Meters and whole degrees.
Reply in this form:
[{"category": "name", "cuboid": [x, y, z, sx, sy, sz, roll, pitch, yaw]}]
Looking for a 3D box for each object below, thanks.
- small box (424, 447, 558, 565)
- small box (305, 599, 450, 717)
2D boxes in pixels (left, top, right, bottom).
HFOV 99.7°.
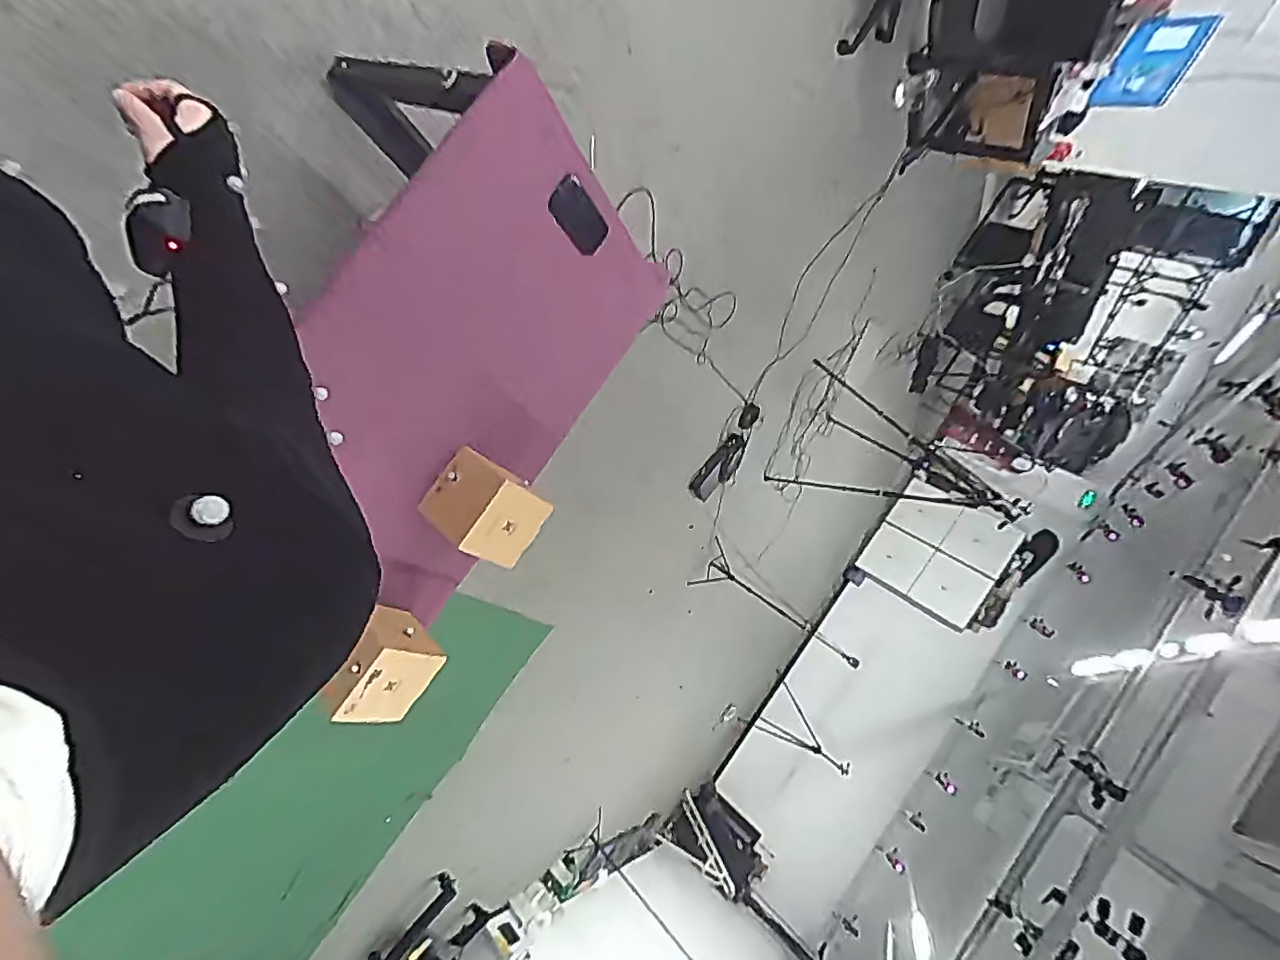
[{"category": "small box", "cuboid": [-0.317, 0.053, 1.153, 0.168, 0.176, 0.179, -55, 147, -4]}, {"category": "small box", "cuboid": [-0.546, 0.369, 1.127, 0.168, 0.176, 0.179, -54, 148, -5]}]
